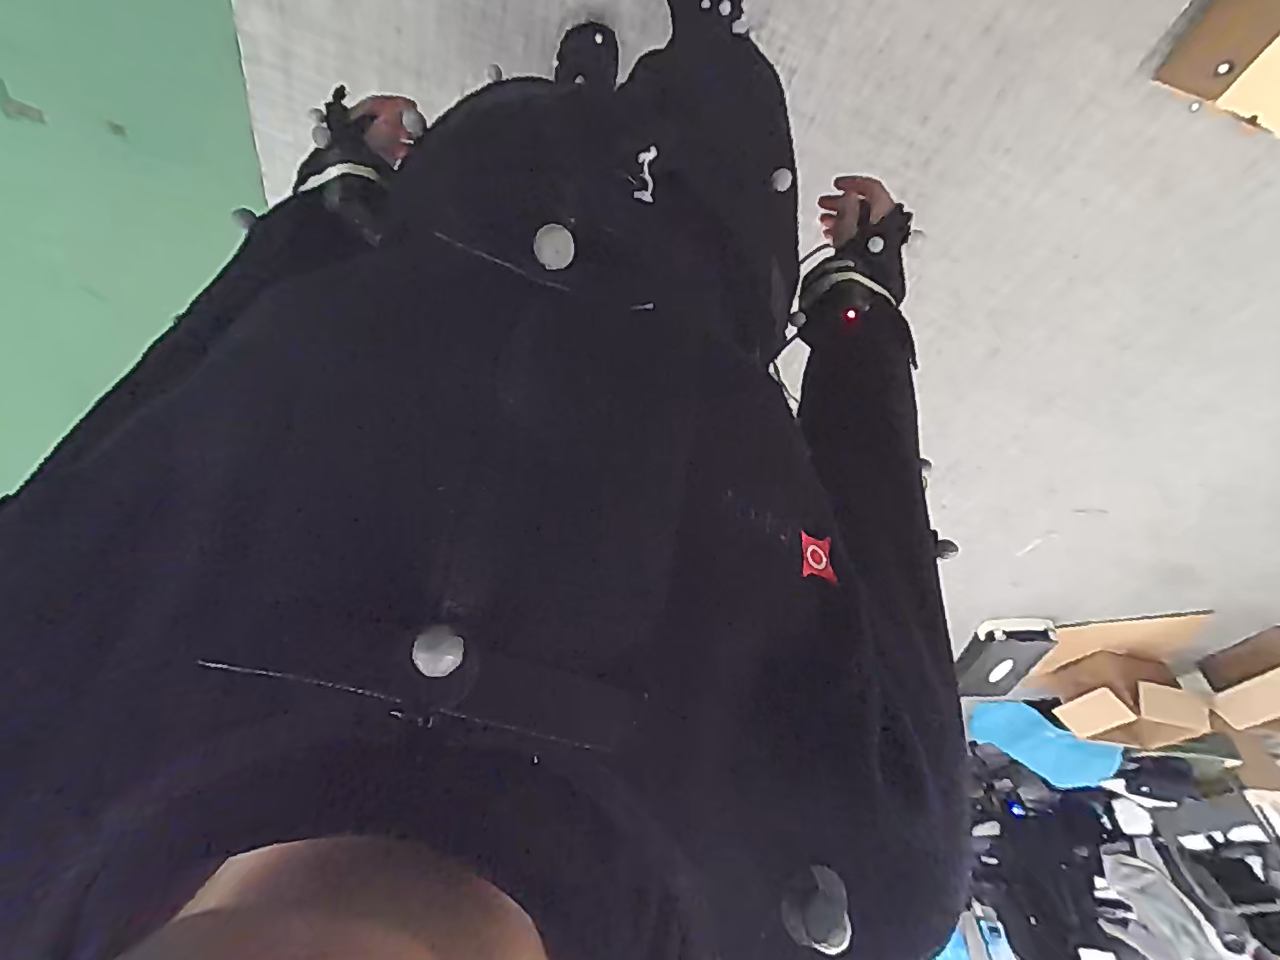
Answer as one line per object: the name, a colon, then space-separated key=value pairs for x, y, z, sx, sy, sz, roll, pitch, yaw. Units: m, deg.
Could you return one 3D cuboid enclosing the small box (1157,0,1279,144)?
small box: x=1.009 y=-0.684 z=0.864 sx=0.168 sy=0.176 sz=0.179 roll=14 pitch=137 yaw=-12
